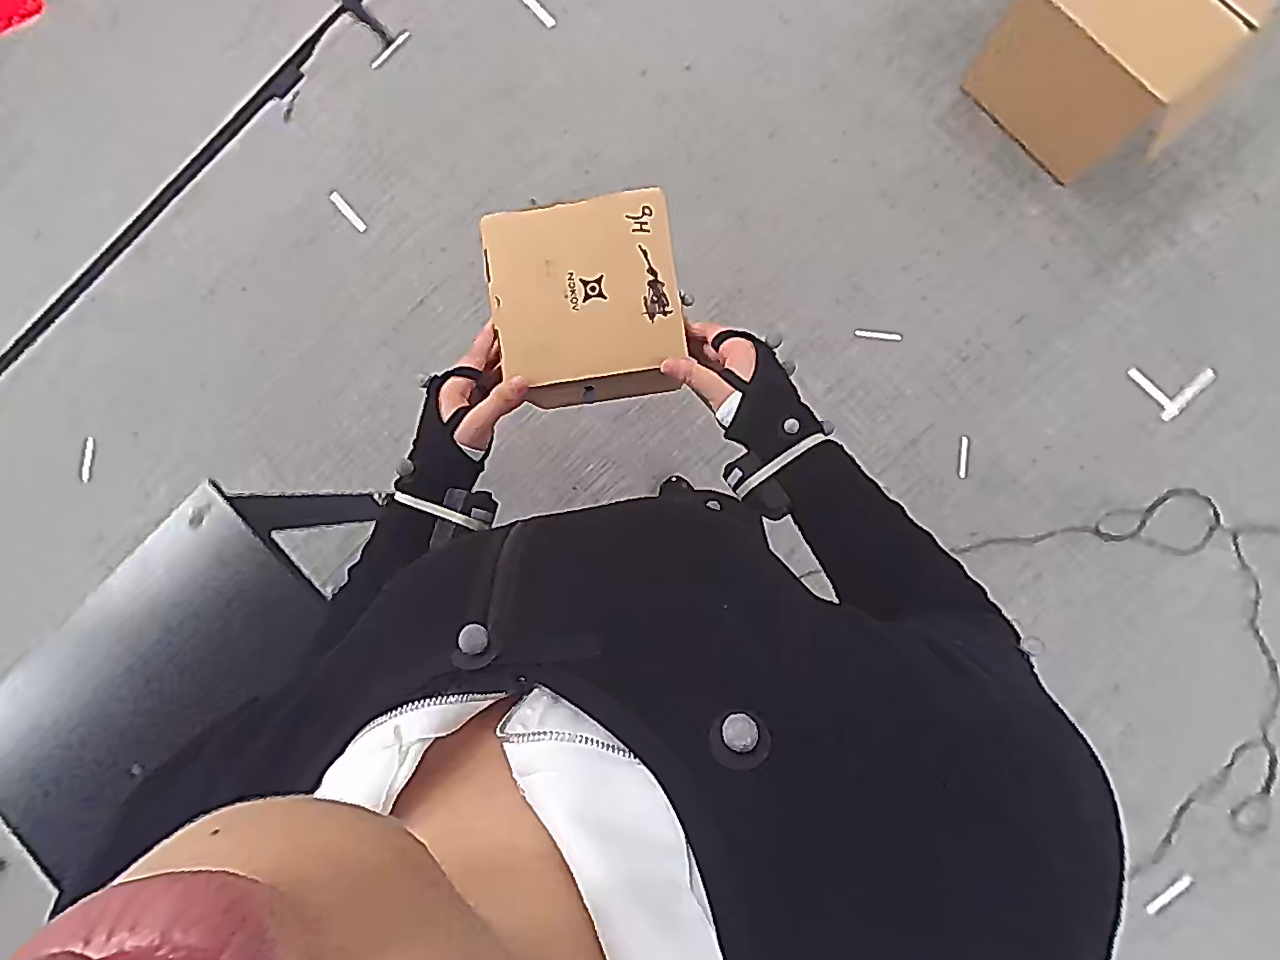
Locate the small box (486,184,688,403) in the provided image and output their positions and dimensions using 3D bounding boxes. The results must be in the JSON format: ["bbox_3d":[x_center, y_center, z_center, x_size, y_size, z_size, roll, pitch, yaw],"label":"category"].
[{"bbox_3d":[-0.045,-0.182,0.580,0.179,0.176,0.168,-7,91,3],"label":"small box"}]
